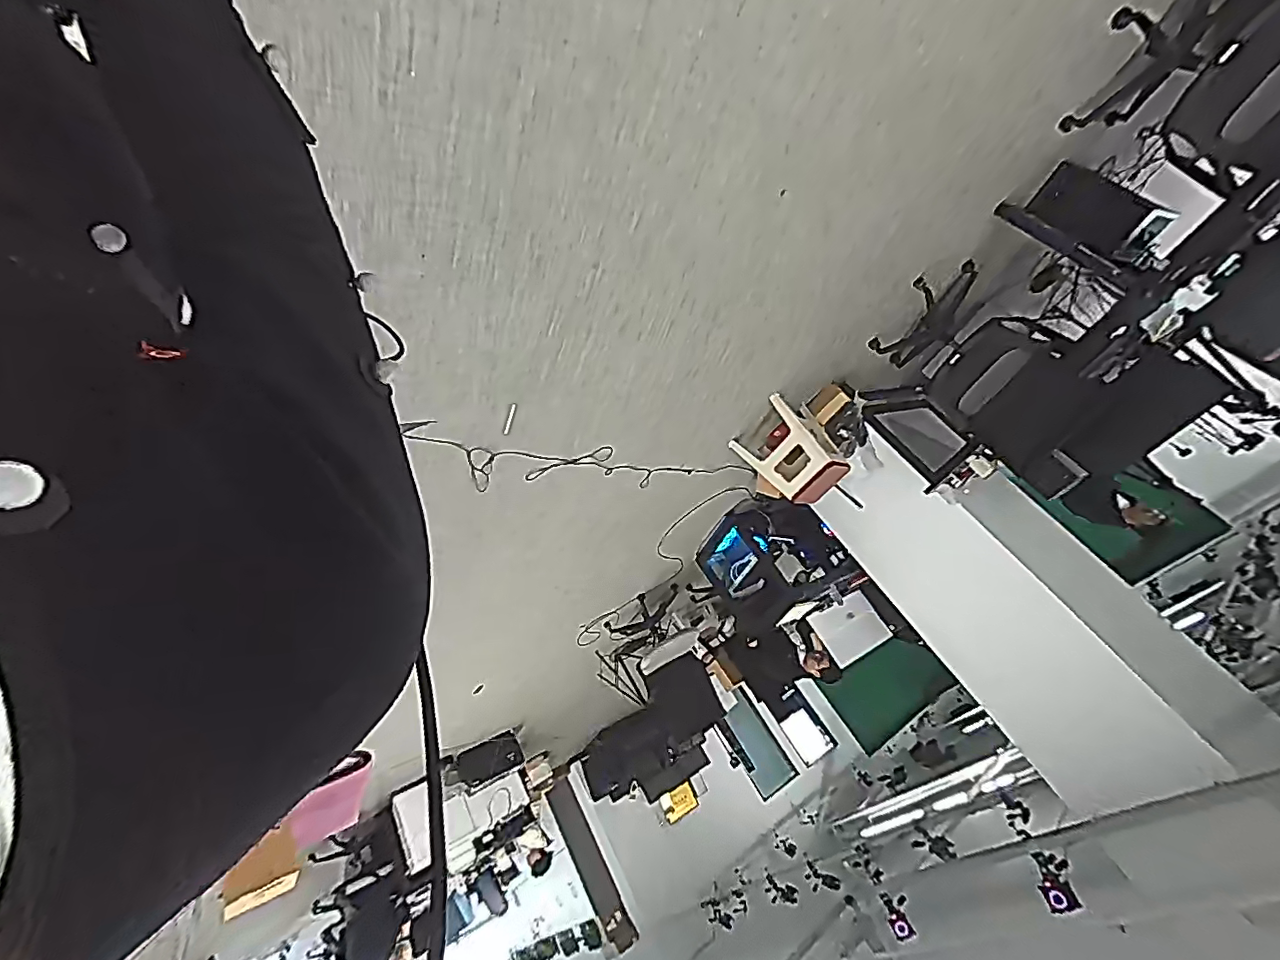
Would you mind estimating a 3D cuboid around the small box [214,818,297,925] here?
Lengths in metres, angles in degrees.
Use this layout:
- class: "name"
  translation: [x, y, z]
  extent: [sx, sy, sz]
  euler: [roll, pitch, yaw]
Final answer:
- class: "small box"
  translation: [-1.078, 1.082, 1.509]
  extent: [0.168, 0.176, 0.179]
  euler: [-5, 140, -42]
